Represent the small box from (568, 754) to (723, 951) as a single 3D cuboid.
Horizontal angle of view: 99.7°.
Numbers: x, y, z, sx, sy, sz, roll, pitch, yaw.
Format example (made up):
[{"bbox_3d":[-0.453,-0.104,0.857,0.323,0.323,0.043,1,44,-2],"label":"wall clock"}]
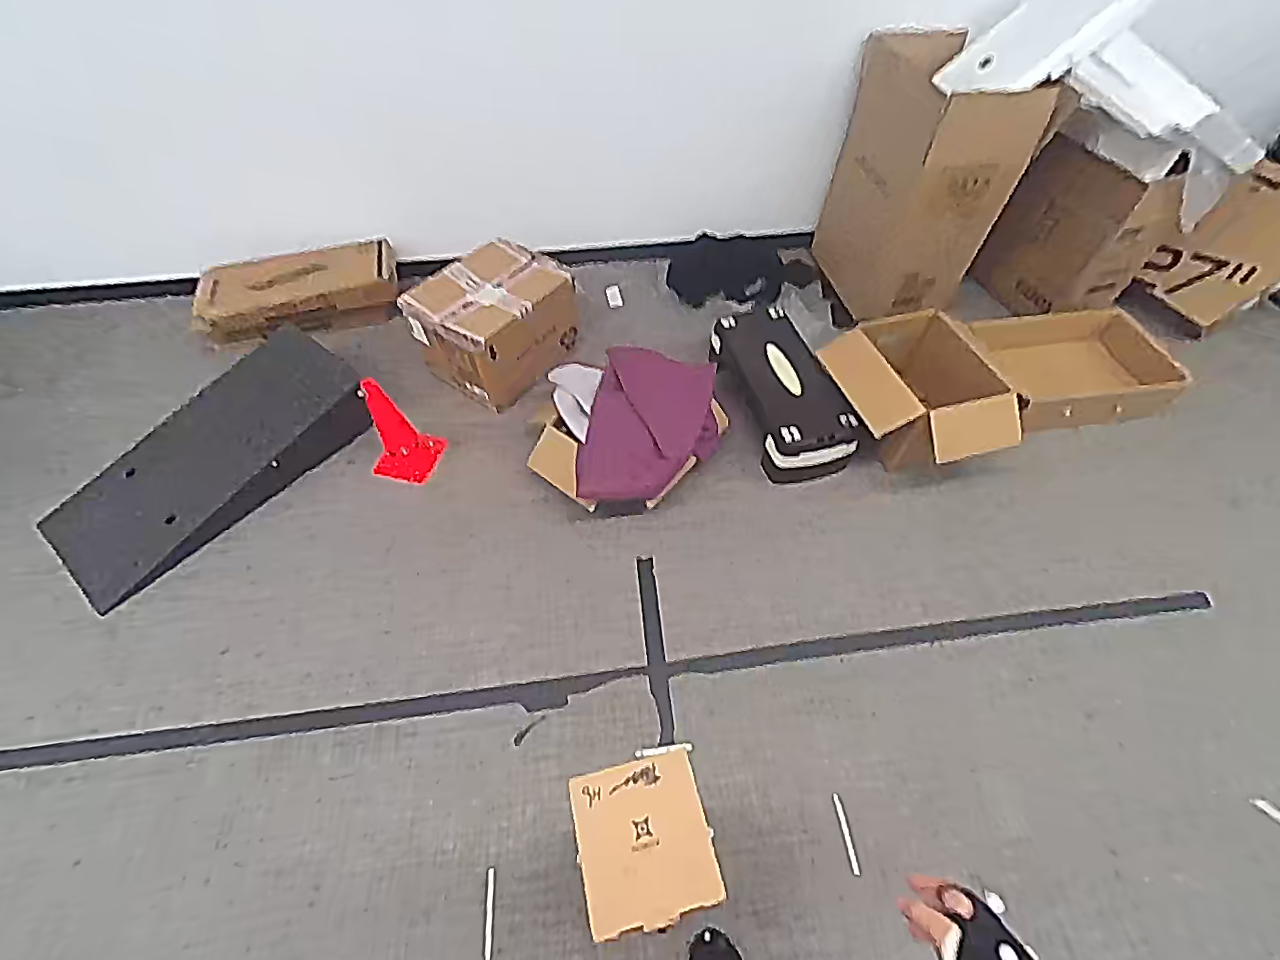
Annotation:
[{"bbox_3d":[0.005,0.500,0.740,0.168,0.176,0.179,-12,55,-7],"label":"small box"}]
